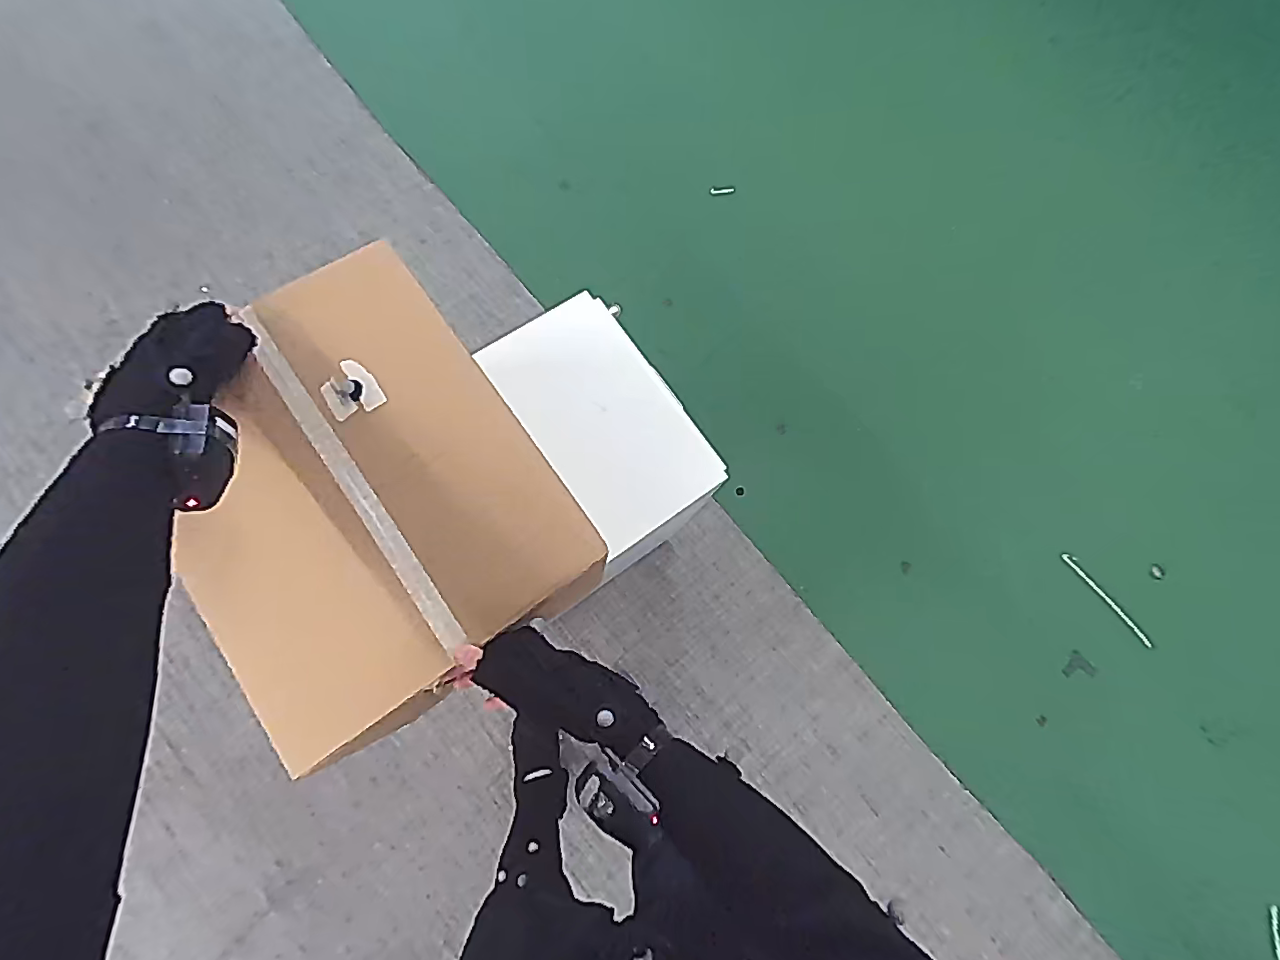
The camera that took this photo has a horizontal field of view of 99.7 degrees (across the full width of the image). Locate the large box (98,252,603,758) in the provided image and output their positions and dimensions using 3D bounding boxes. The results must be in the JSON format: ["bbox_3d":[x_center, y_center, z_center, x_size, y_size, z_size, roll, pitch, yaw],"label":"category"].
[{"bbox_3d":[-0.282,0.034,0.650,0.320,0.320,0.408,-35,79,-13],"label":"large box"}]
